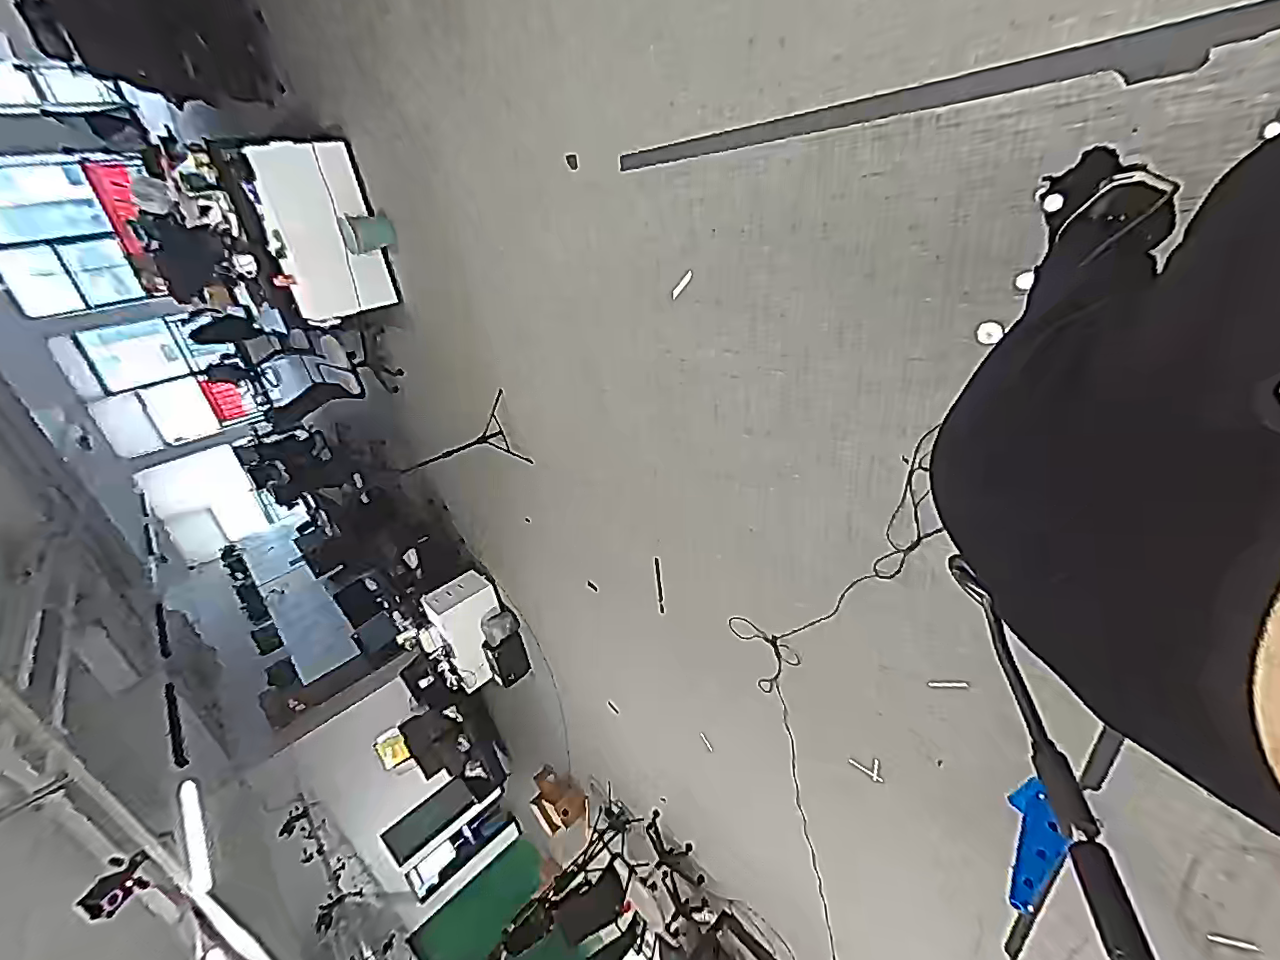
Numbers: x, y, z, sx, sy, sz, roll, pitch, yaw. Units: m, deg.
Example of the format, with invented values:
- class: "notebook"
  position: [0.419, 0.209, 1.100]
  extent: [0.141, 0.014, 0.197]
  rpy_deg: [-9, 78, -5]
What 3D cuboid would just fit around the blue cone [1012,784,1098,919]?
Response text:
- class: "blue cone"
  position: [1.203, 1.140, 1.635]
  extent: [0.192, 0.380, 0.193]
  rpy_deg: [35, 139, 31]
